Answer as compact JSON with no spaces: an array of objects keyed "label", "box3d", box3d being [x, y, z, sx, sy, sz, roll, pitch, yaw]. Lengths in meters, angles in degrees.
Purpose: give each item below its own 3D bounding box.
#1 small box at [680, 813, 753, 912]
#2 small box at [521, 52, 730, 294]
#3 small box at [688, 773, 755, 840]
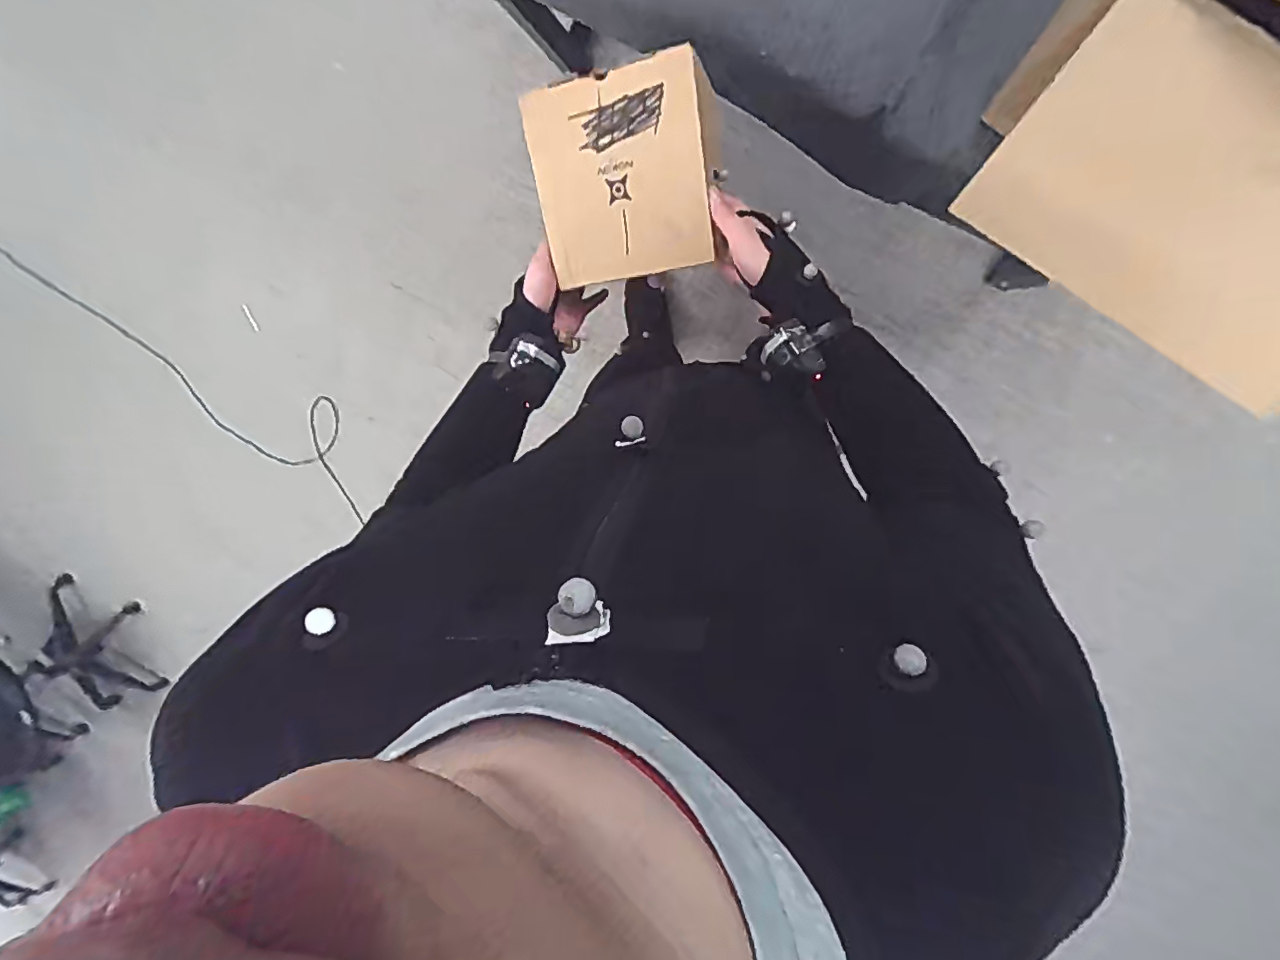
[{"label":"small box","box3d":[0.249,1.216,1.730,0.168,0.176,0.179,28,114,4]},{"label":"small box","box3d":[0.001,-0.302,0.565,0.168,0.176,0.179,-2,115,16]},{"label":"small box","box3d":[0.285,1.166,1.880,0.168,0.176,0.179,27,112,3]}]
